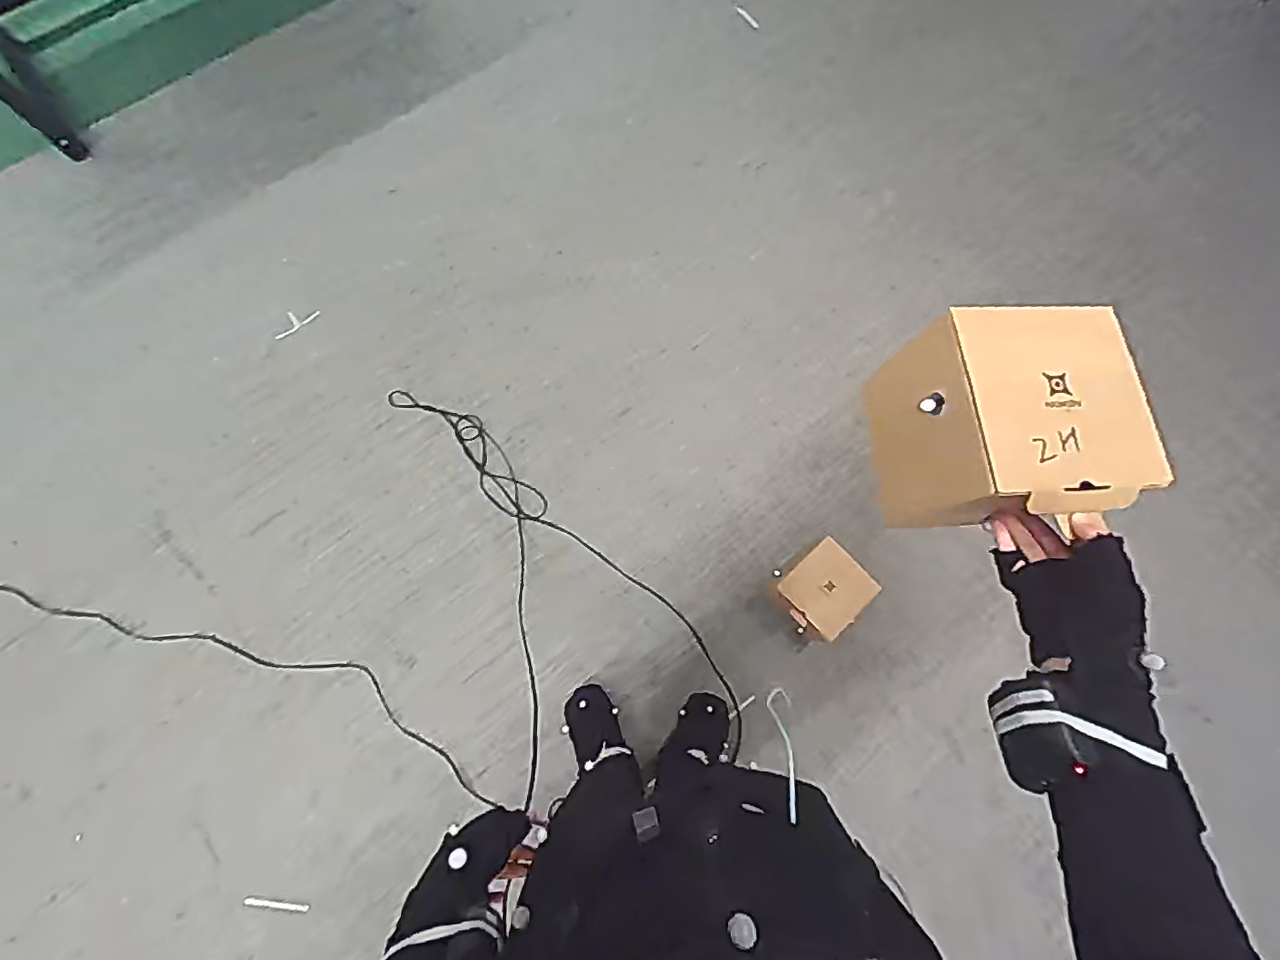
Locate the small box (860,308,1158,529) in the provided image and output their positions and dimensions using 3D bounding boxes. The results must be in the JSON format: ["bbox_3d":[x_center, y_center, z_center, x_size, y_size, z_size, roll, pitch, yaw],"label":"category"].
[{"bbox_3d":[0.348,-0.053,0.550,0.168,0.176,0.179,-3,76,-8],"label":"small box"}]

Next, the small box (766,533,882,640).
[{"bbox_3d":[0.414,0.250,1.255,0.179,0.176,0.168,-41,80,-11],"label":"small box"}]
